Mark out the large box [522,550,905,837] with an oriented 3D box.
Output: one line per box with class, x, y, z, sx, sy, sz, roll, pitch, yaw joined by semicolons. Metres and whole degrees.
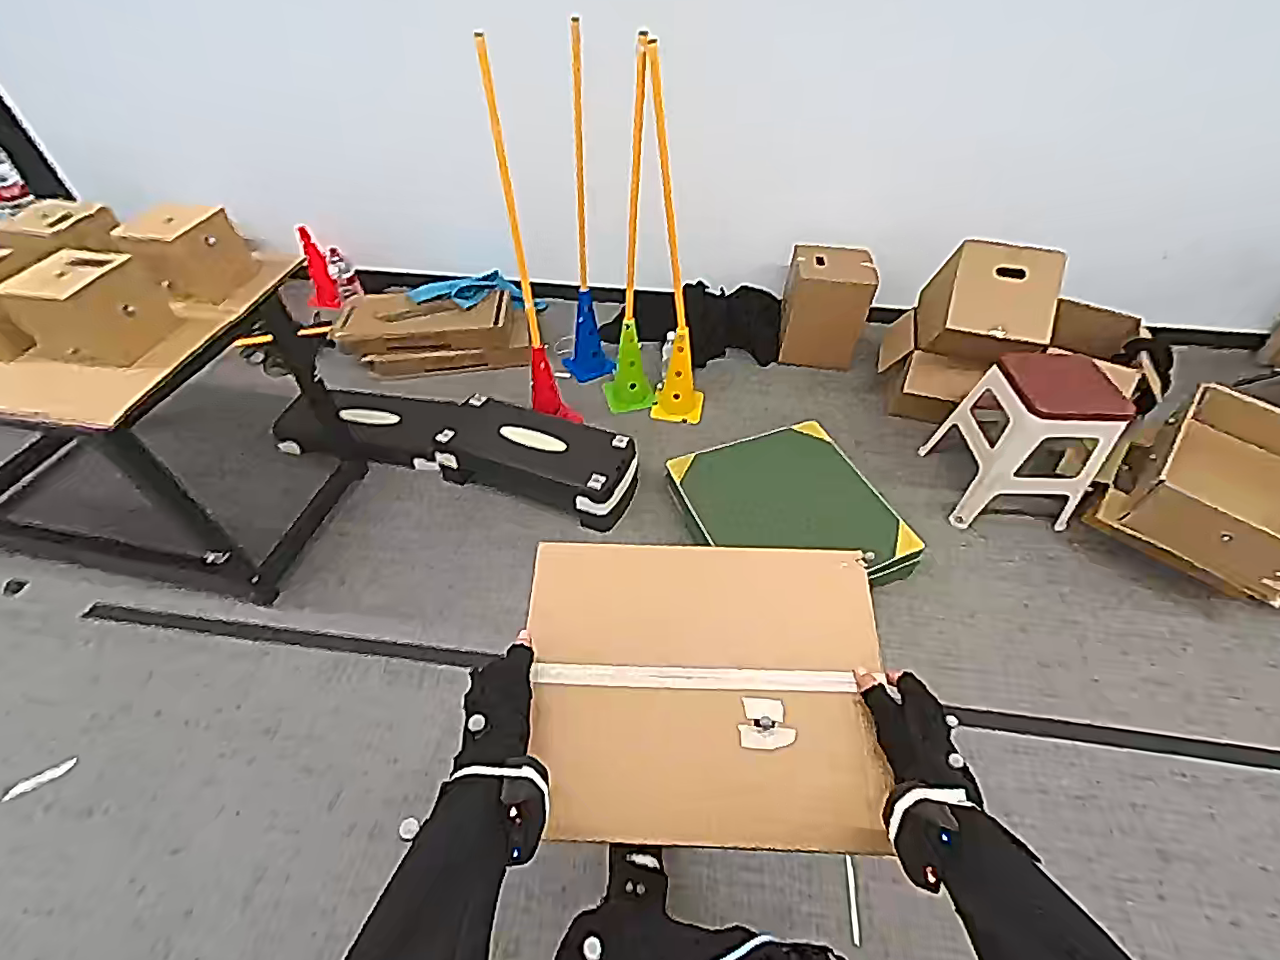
large box;0.077;0.301;0.755;0.408;0.320;0.320;1;61;1
